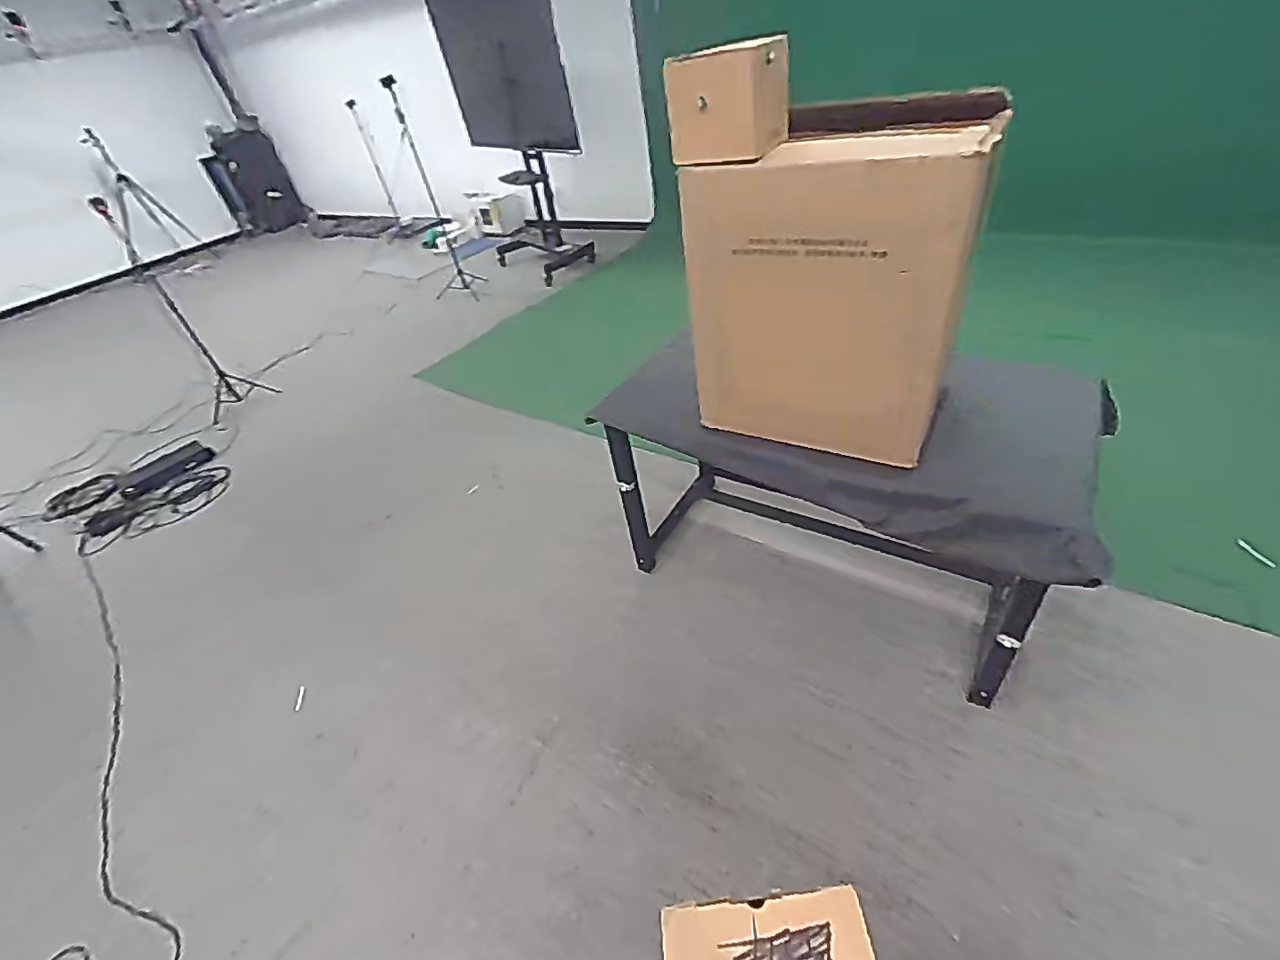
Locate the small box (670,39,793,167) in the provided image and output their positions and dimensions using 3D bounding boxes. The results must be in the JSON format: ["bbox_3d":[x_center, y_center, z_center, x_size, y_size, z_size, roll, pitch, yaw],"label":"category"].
[{"bbox_3d":[0.179,-0.711,1.030,0.179,0.176,0.168,16,47,30],"label":"small box"}]
